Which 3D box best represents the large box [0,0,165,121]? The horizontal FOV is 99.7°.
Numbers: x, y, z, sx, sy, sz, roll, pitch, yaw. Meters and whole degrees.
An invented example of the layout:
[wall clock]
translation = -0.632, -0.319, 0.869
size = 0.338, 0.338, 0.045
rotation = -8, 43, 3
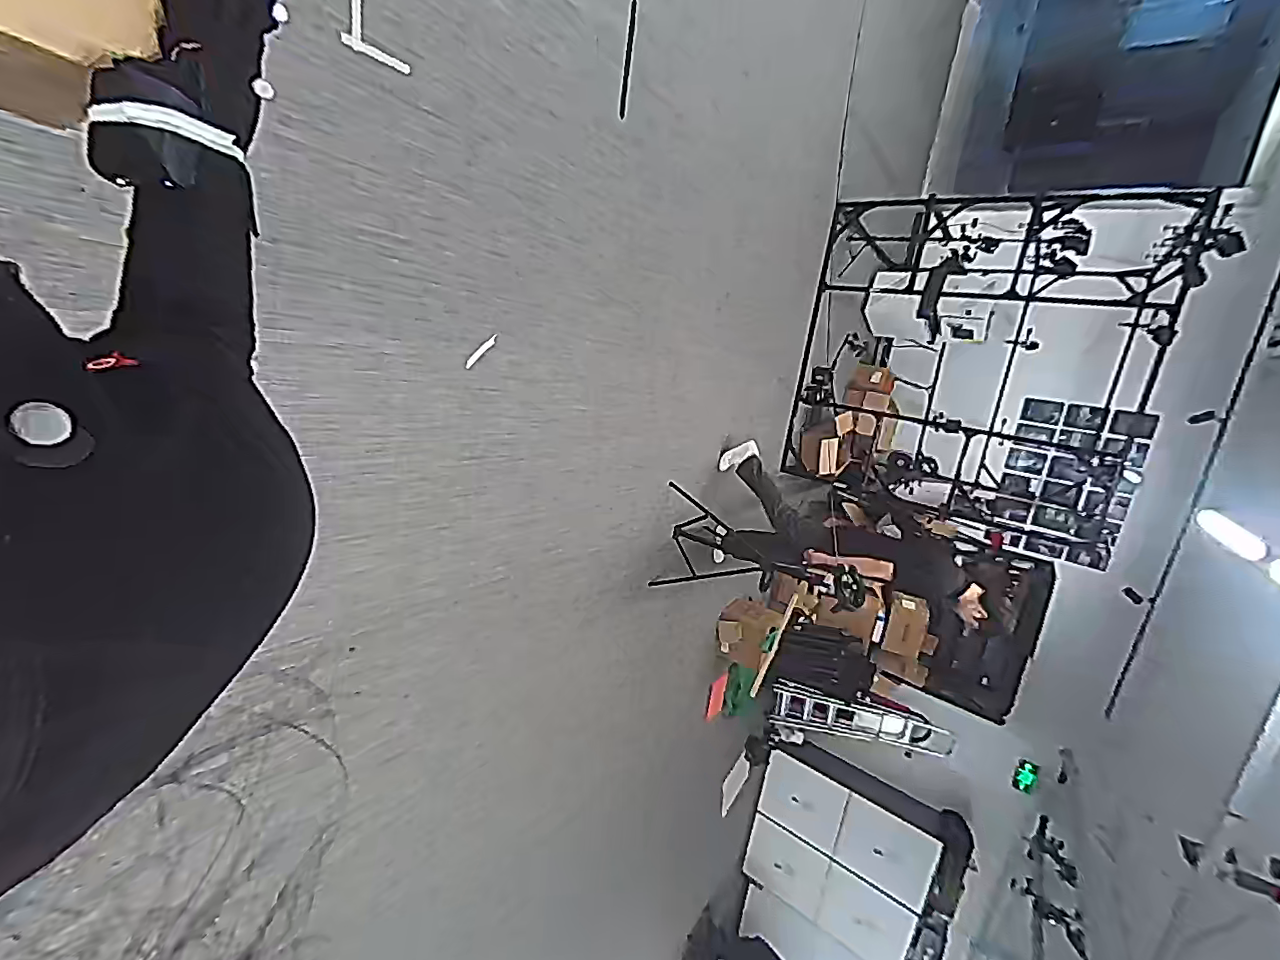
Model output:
[large box]
translation = -0.548, -0.453, 0.276
size = 0.408, 0.320, 0.320
rotation = -4, 111, -56
